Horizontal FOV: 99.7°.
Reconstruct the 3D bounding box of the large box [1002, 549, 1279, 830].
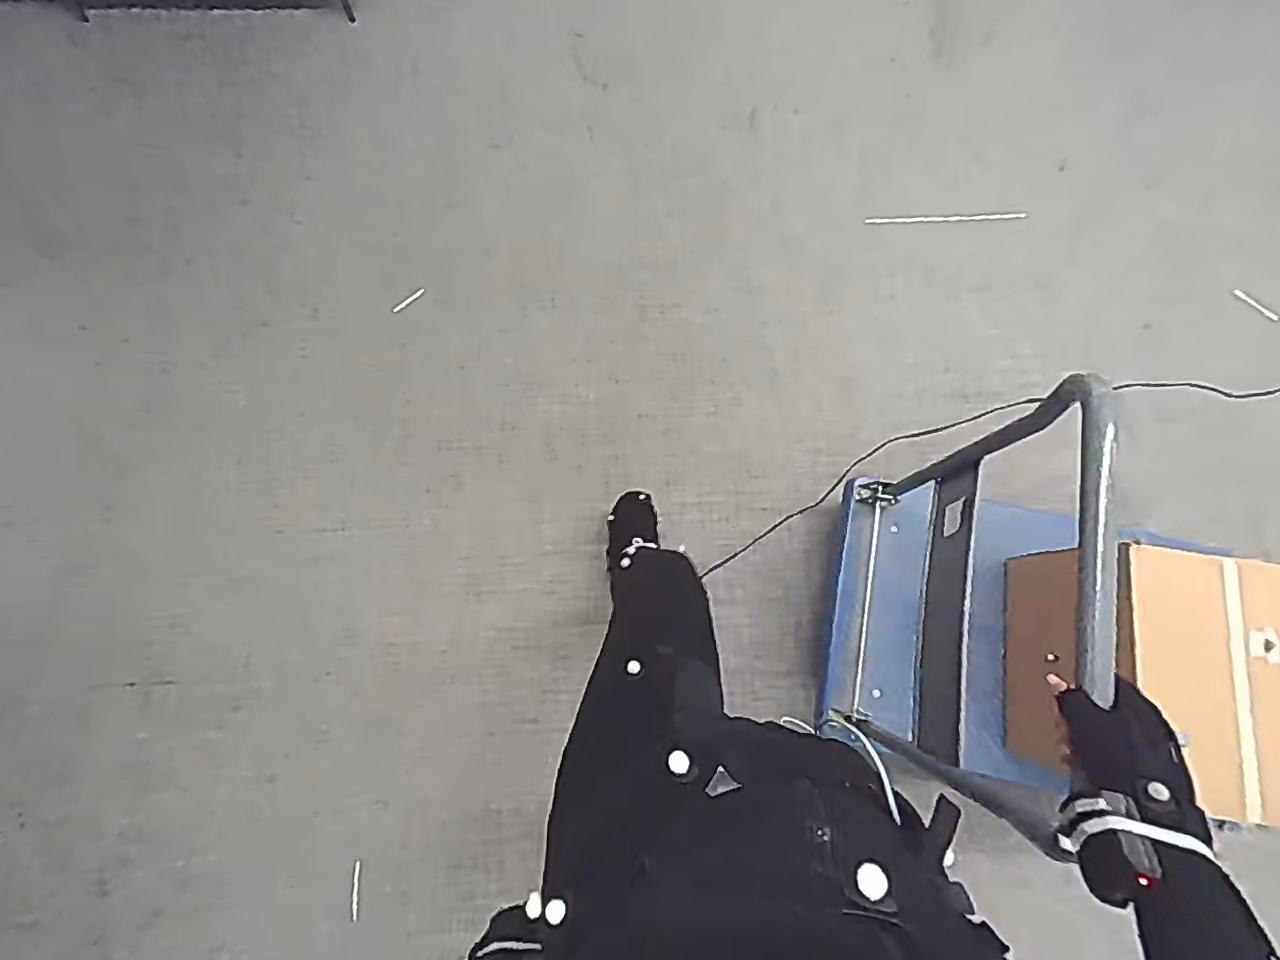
[{"bbox_3d":[0.922,0.363,0.996,0.320,0.320,0.408,8,75,0],"label":"large box"}]
